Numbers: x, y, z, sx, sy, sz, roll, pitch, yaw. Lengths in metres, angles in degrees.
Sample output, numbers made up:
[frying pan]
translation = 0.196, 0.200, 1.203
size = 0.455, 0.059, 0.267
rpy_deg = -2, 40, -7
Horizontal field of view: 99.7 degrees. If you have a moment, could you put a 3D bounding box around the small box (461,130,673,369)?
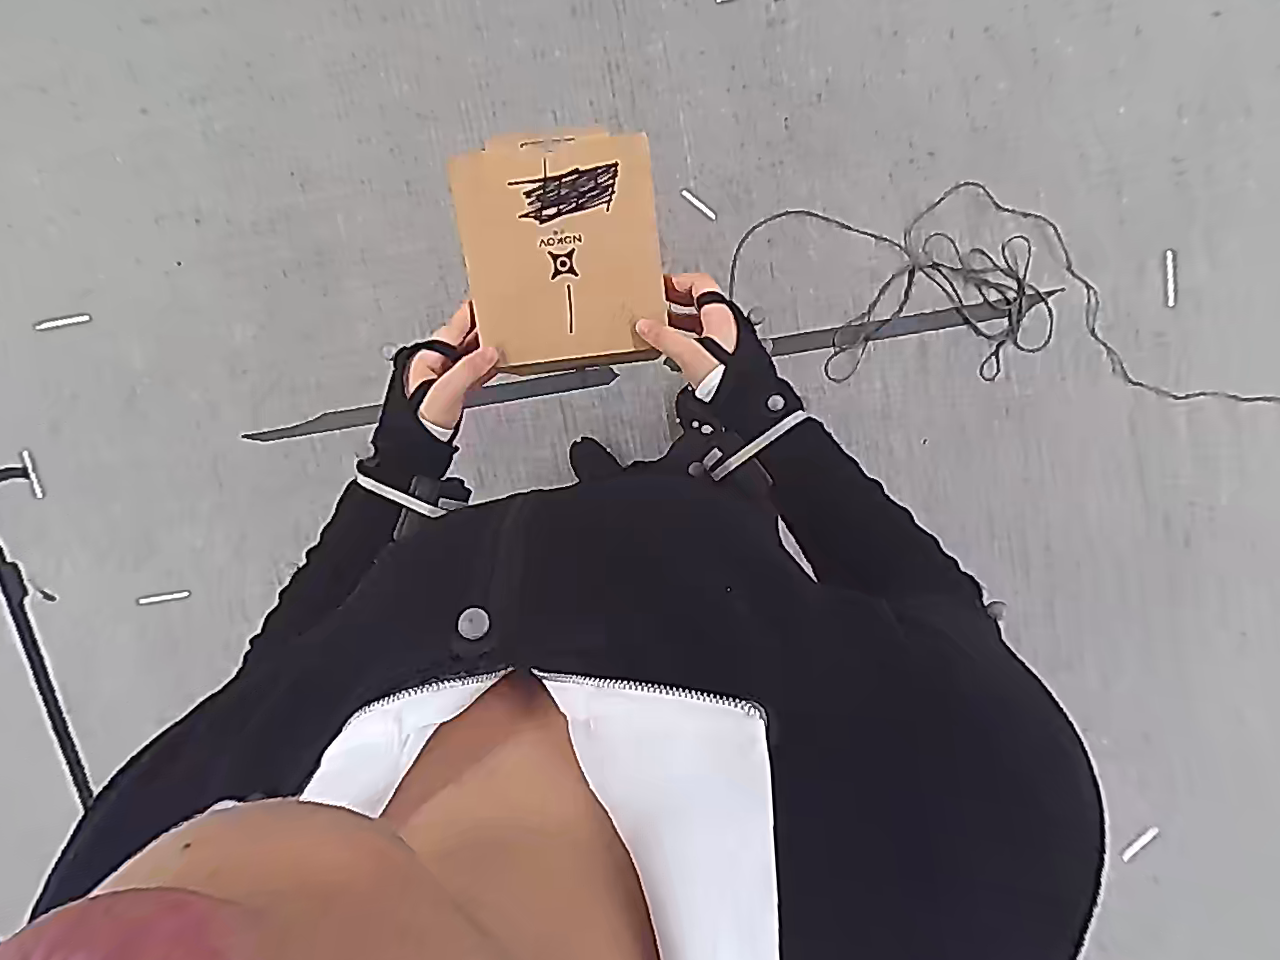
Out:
[small box]
translation = -0.064, -0.210, 0.538
size = 0.168, 0.176, 0.179
rpy_deg = -7, 100, -1
